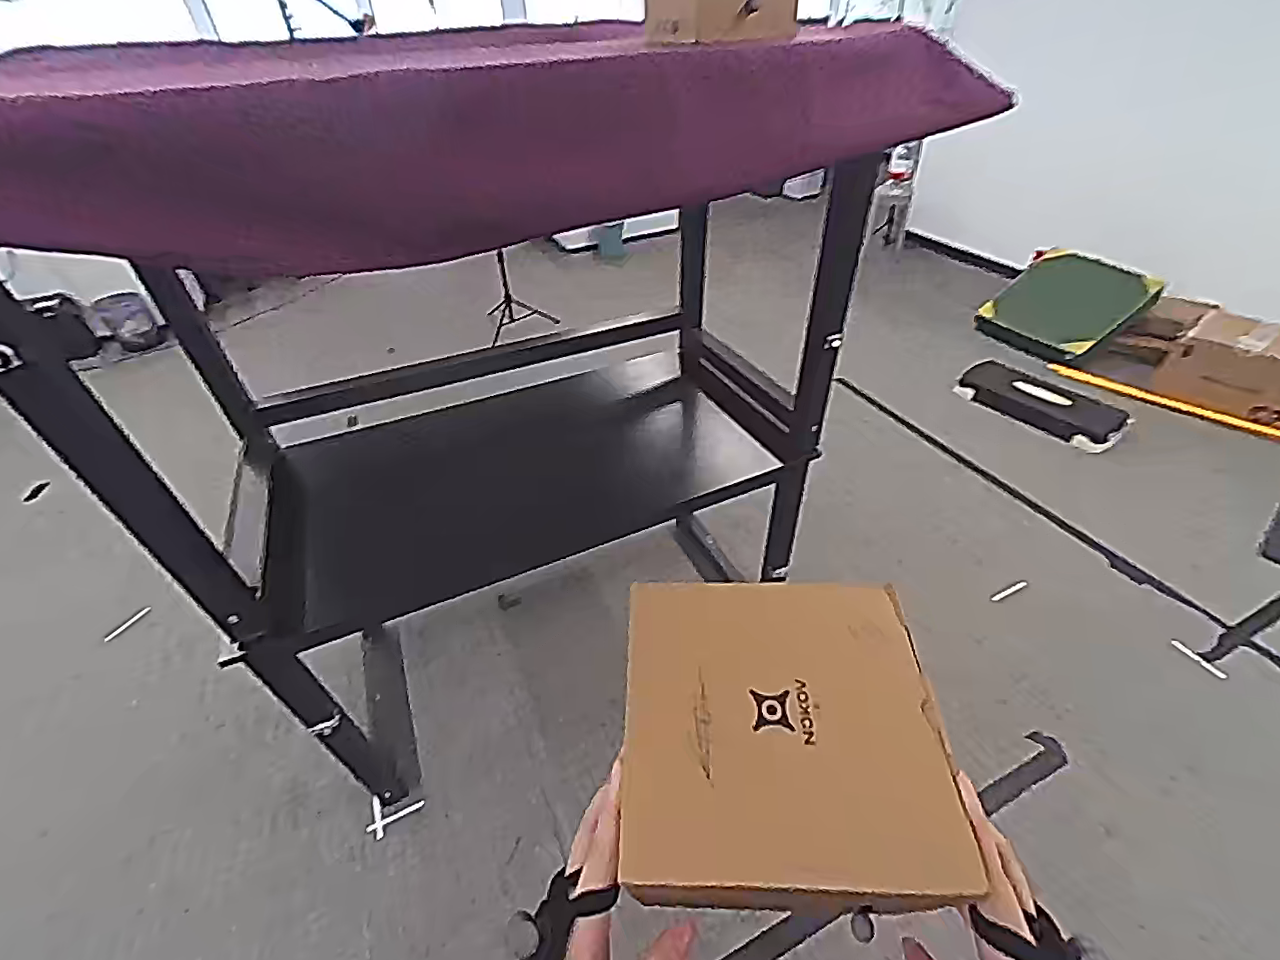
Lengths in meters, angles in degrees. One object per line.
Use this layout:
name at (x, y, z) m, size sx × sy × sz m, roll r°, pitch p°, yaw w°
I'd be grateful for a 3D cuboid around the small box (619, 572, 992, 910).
small box at (0.083, 0.176, 0.363) m, size 0.179 × 0.176 × 0.168 m, roll -2°, pitch 48°, yaw 4°

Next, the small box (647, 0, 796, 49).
small box at (0.115, -0.730, 0.772) m, size 0.179 × 0.176 × 0.168 m, roll -20°, pitch 42°, yaw -19°
